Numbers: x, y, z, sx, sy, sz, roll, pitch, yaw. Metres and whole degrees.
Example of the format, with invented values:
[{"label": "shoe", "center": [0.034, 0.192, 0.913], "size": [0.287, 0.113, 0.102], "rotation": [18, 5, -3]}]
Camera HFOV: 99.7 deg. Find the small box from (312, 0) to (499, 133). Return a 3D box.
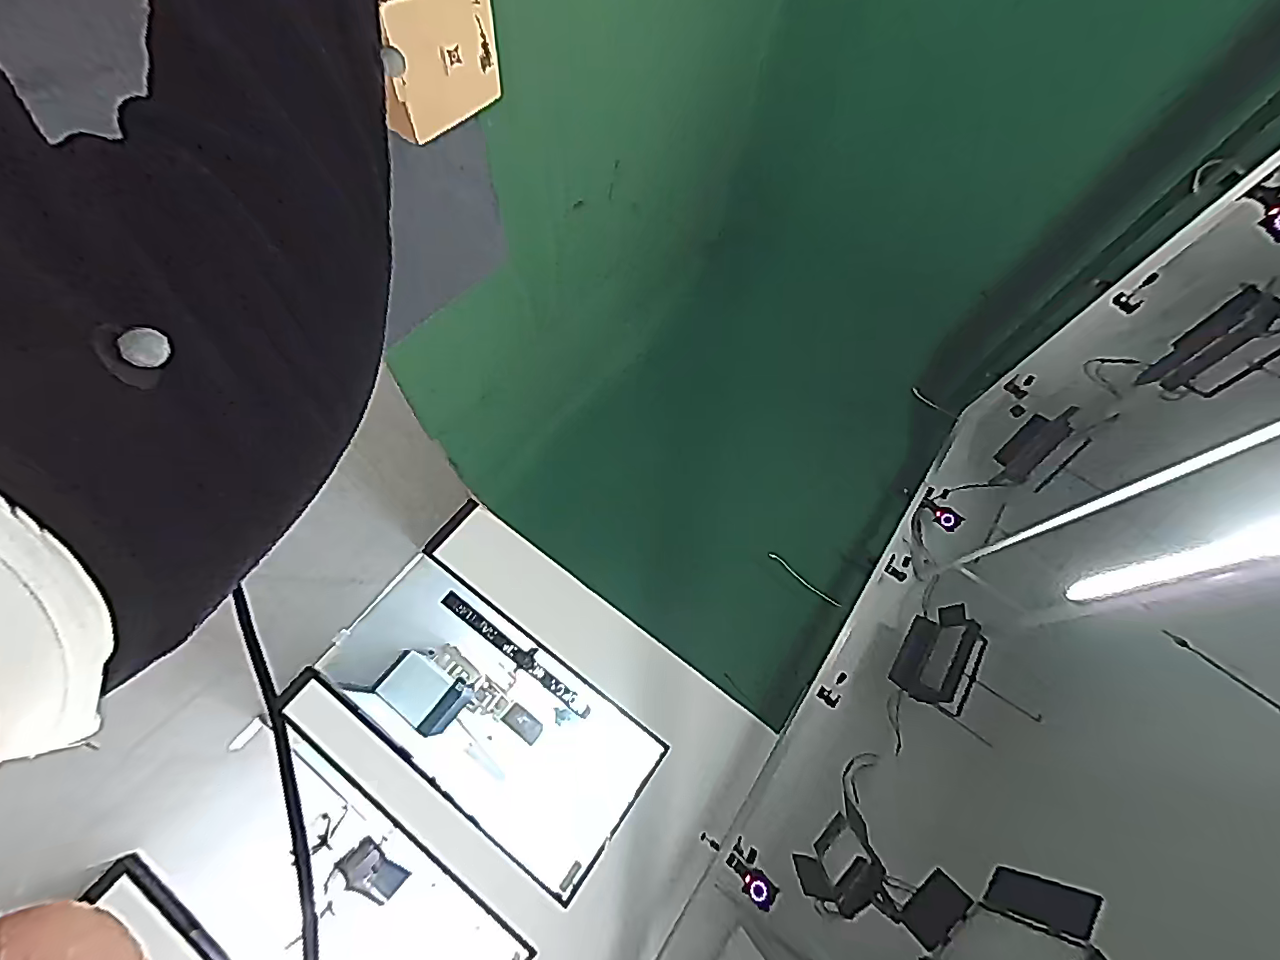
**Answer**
[{"label": "small box", "center": [-0.322, -0.625, 0.736], "size": [0.179, 0.176, 0.168], "rotation": [-47, 169, -25]}]
